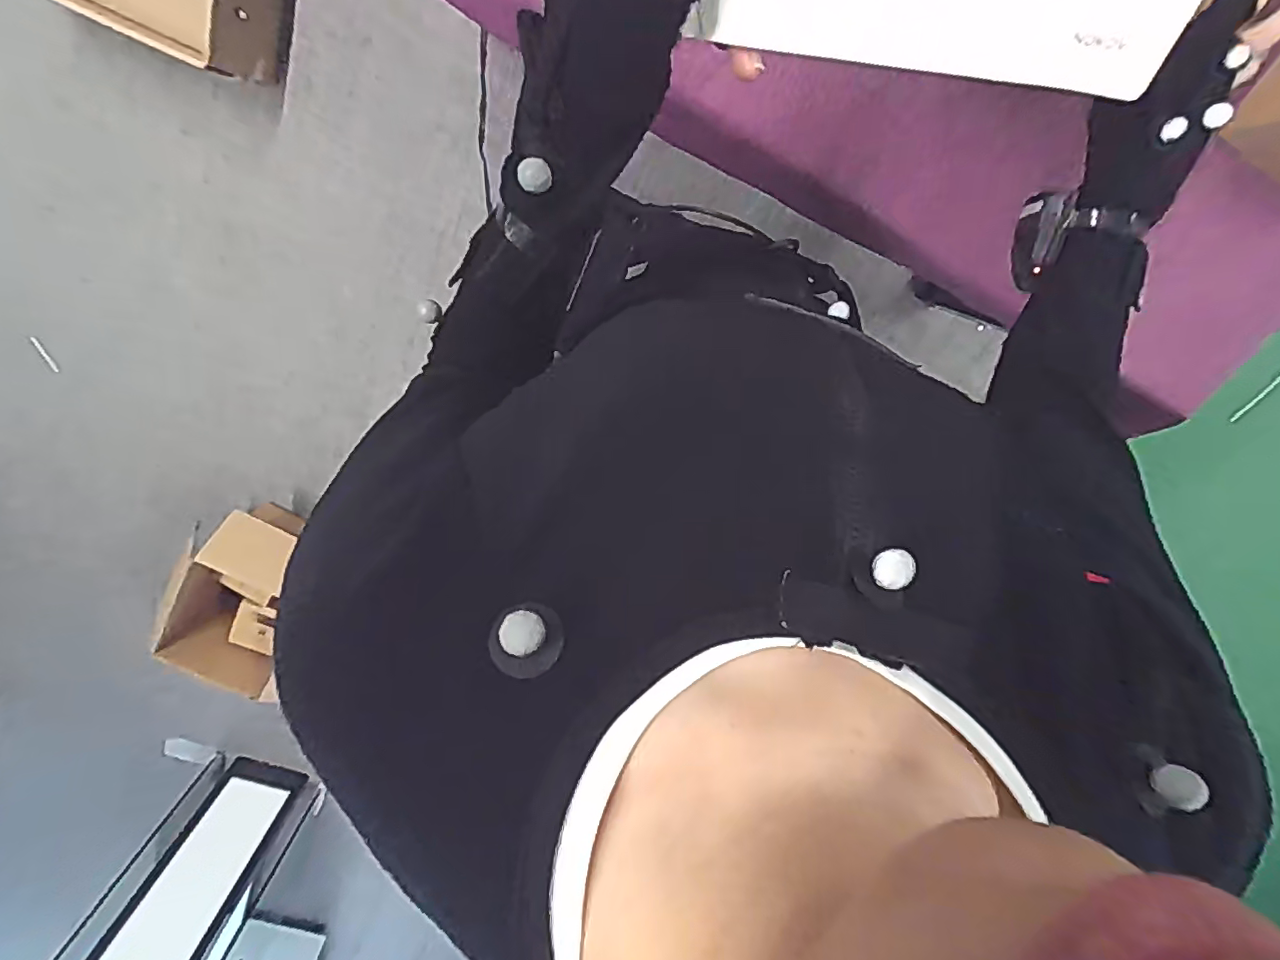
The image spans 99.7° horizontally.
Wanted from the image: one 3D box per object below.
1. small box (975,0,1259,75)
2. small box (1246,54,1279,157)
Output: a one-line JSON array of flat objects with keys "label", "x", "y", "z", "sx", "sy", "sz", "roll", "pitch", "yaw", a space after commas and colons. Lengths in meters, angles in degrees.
[{"label": "small box", "x": 0.402, "y": -0.462, "z": 0.423, "sx": 0.168, "sy": 0.176, "sz": 0.179, "roll": 23, "pitch": 115, "yaw": -10}, {"label": "small box", "x": 0.705, "y": -0.364, "z": 0.465, "sx": 0.168, "sy": 0.176, "sz": 0.179, "roll": 25, "pitch": 115, "yaw": -12}]
